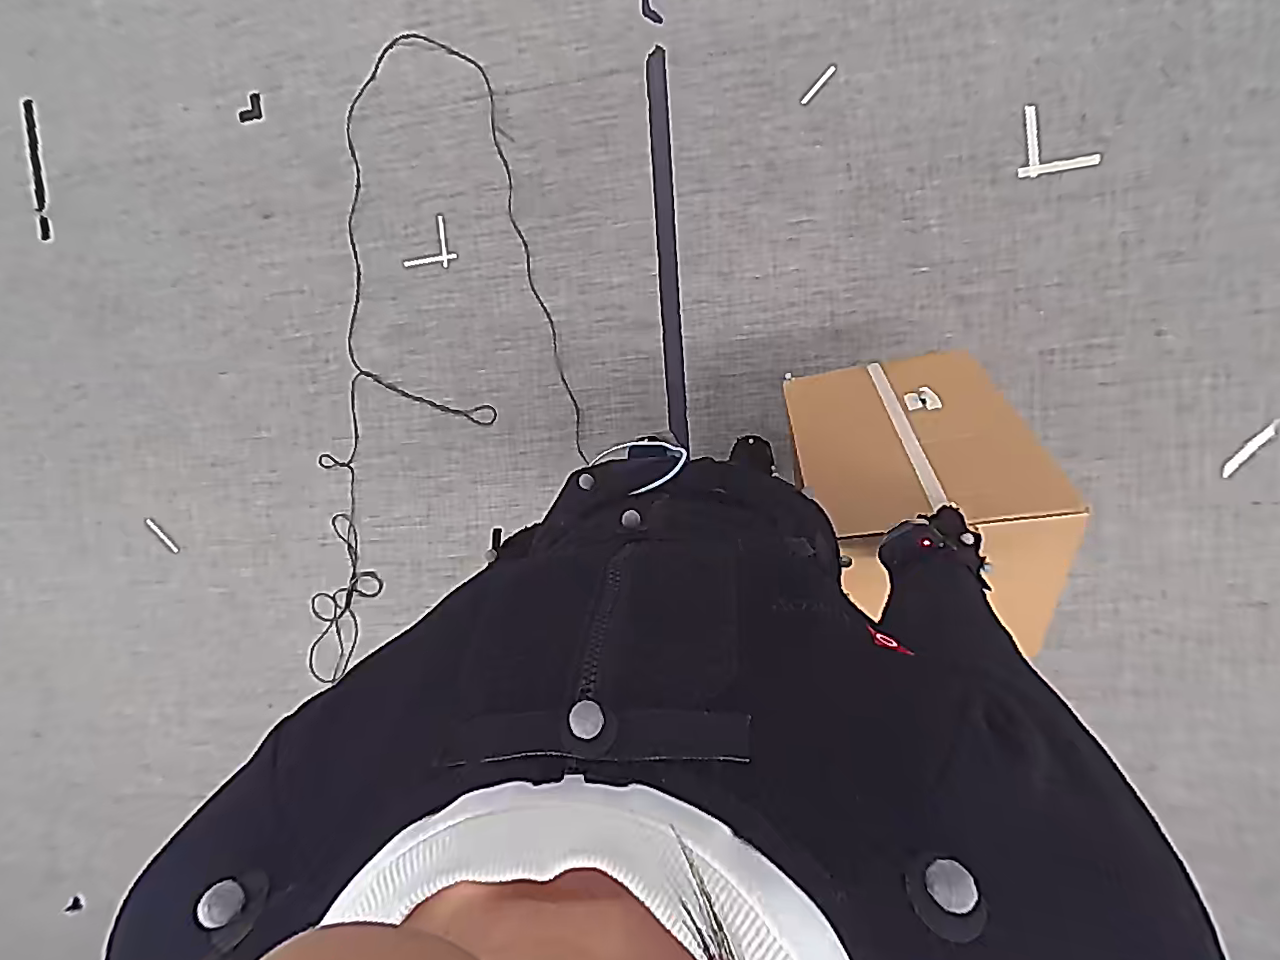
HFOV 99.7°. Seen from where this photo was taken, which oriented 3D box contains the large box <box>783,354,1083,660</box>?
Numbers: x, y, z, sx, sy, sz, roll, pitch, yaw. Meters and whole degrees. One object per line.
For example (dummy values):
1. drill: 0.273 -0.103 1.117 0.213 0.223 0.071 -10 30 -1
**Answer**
1. large box: 0.440 0.040 0.921 0.320 0.408 0.320 -8 129 12
